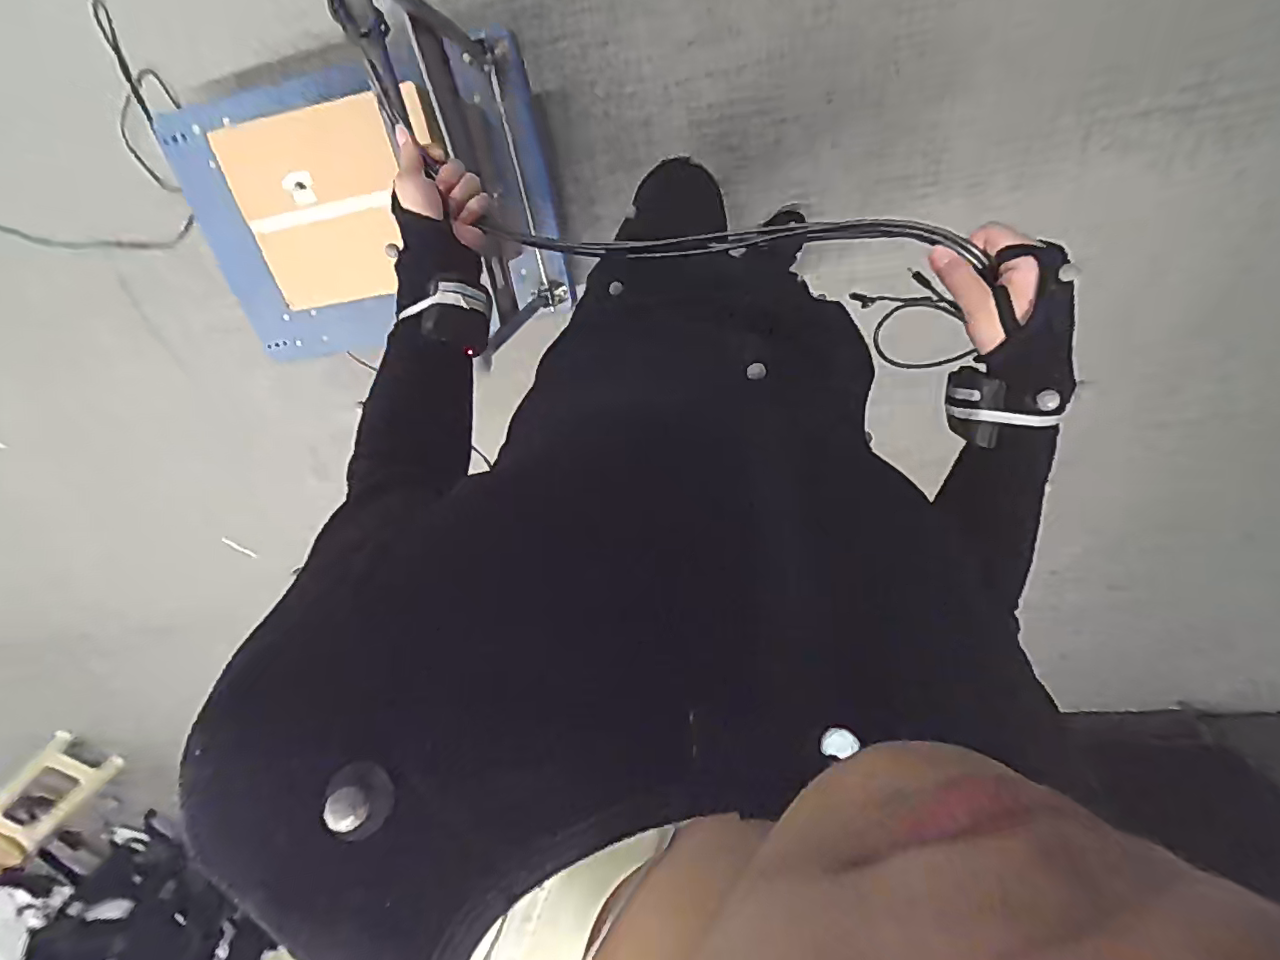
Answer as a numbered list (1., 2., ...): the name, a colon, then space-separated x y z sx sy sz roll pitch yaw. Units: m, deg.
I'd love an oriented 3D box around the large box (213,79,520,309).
1. large box: -0.516 -0.572 1.111 0.408 0.320 0.320 -6 118 10
